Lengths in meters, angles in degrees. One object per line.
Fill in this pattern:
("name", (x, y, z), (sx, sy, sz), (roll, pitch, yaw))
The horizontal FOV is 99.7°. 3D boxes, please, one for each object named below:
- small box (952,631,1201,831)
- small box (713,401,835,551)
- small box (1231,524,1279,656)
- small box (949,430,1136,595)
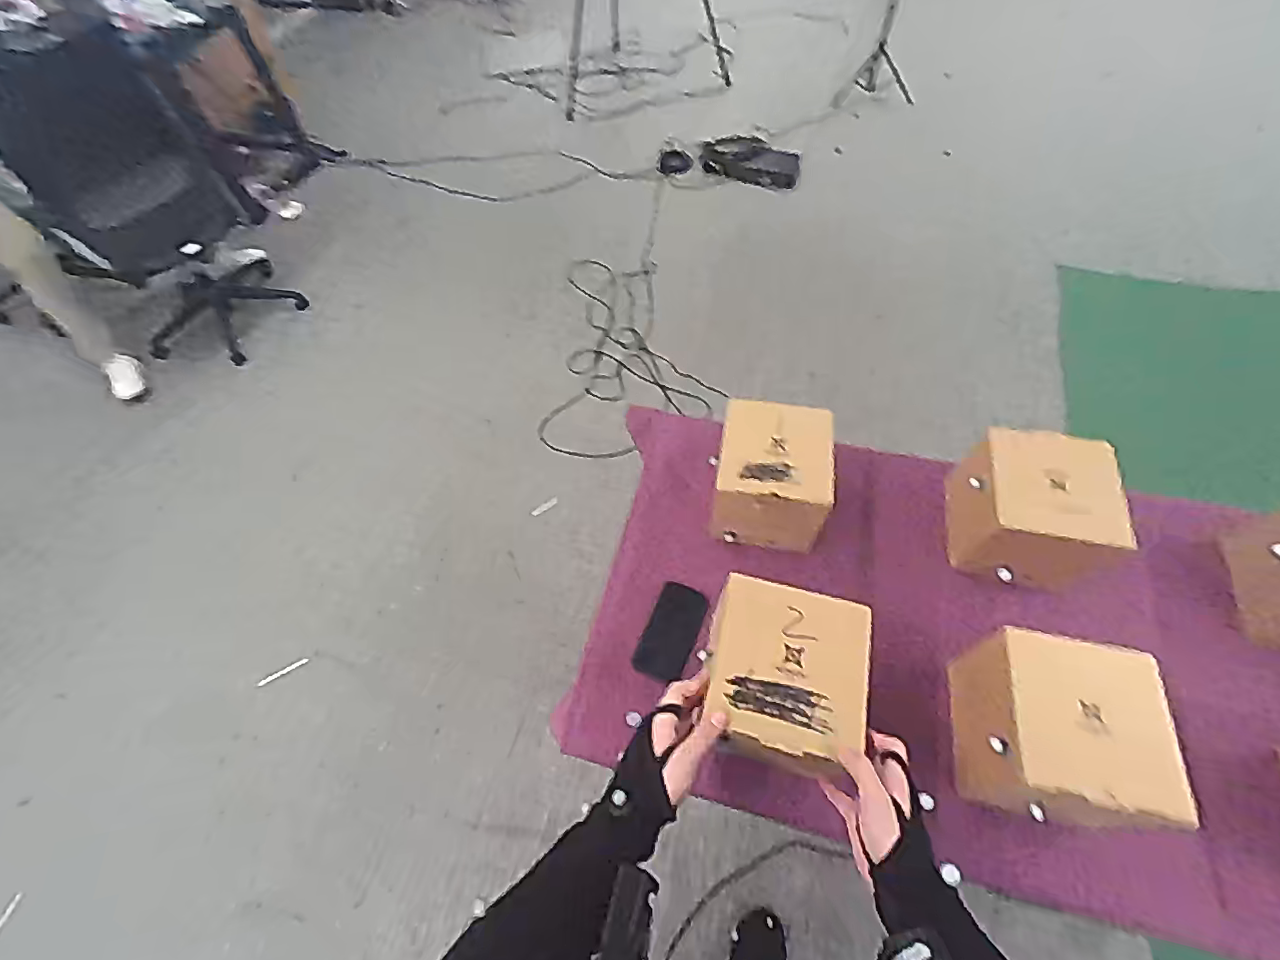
("small box", (0.509, 0.312, 0.668), (0.168, 0.176, 0.179), (10, 58, 9))
("small box", (0.214, -0.002, 0.884), (0.168, 0.176, 0.179), (9, 58, 8))
("small box", (0.984, 0.151, 0.741), (0.168, 0.176, 0.179), (14, 59, 13))
("small box", (0.595, 0.052, 0.829), (0.168, 0.176, 0.179), (10, 59, 11))
